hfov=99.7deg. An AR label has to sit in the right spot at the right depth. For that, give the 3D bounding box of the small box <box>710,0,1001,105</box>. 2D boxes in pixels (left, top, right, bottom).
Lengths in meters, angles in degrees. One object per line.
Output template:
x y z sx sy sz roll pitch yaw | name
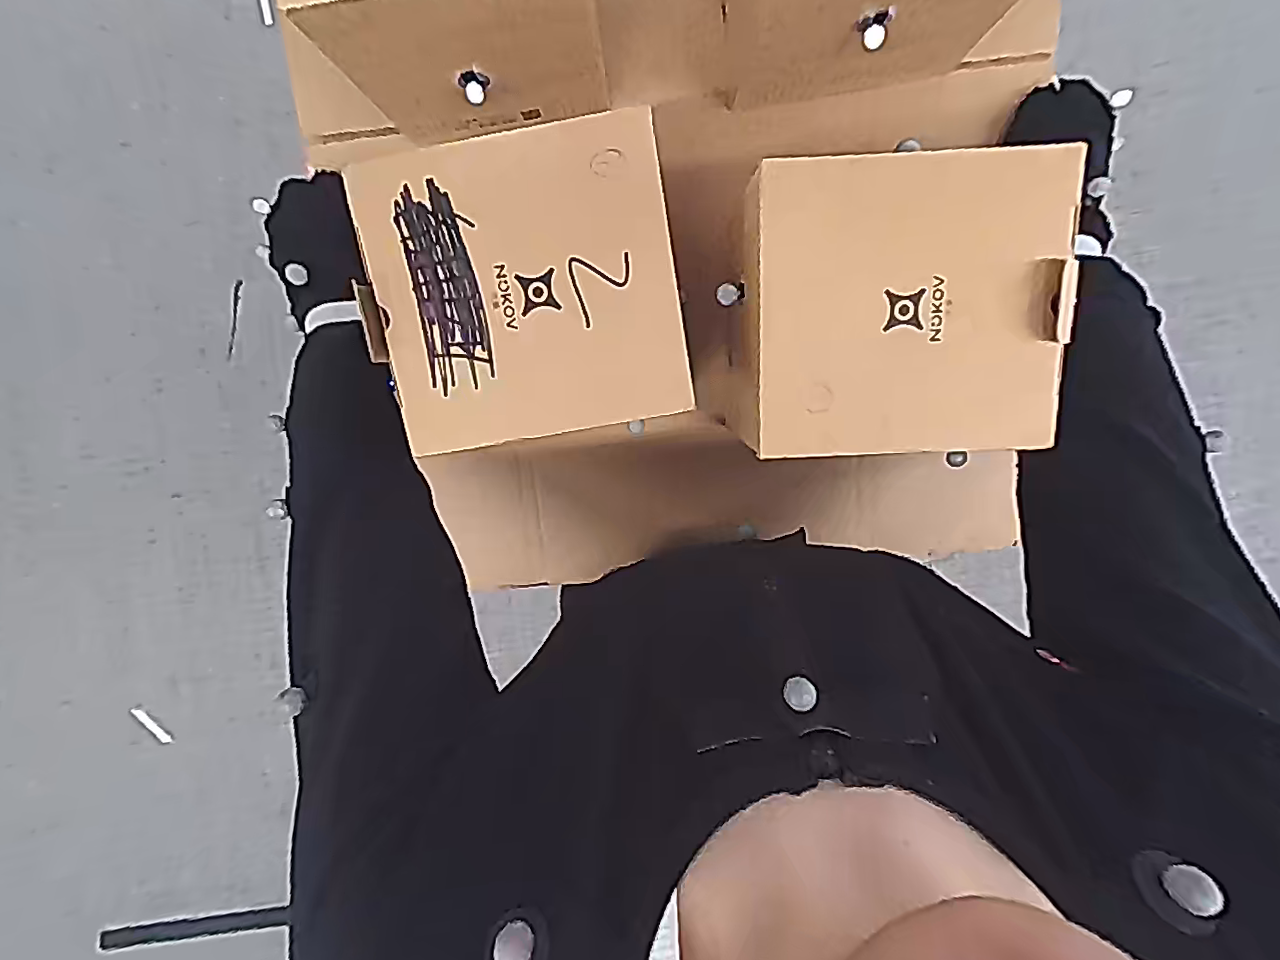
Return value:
0.138 -0.373 0.339 0.179 0.176 0.168 -6 101 4 | small box

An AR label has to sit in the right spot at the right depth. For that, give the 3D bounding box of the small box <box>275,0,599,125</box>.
-0.122 -0.359 0.349 0.168 0.176 0.179 -6 100 2 | small box
